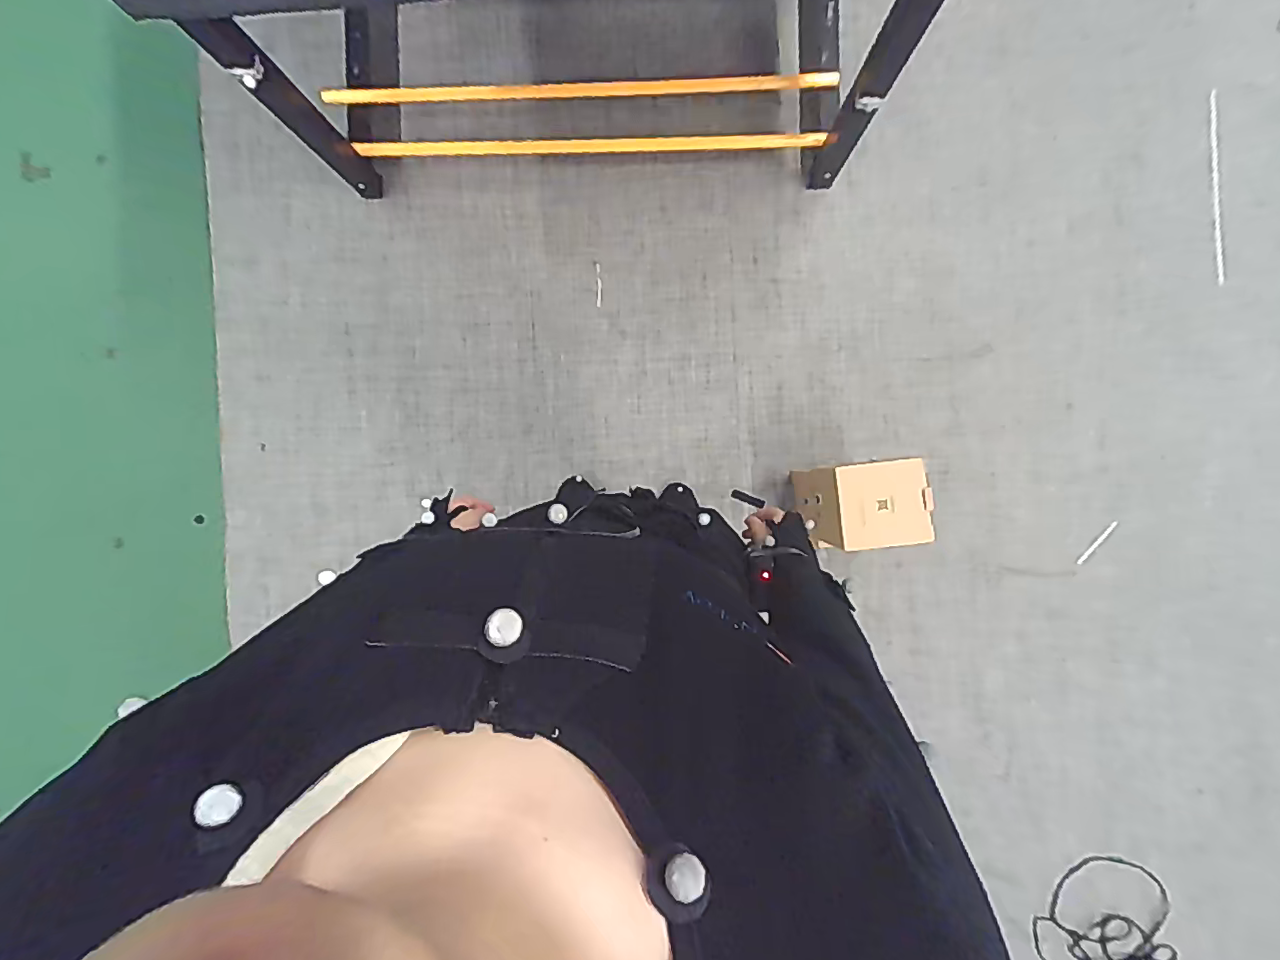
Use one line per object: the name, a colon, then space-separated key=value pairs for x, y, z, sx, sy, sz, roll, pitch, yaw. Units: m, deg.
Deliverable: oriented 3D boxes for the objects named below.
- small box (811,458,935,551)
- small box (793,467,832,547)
small box: x=0.471 y=0.046 z=1.113 sx=0.179 sy=0.176 sz=0.168 roll=-8 pitch=89 yaw=2
small box: x=0.471 y=0.055 z=1.277 sx=0.168 sy=0.176 sz=0.179 roll=-7 pitch=90 yaw=1
